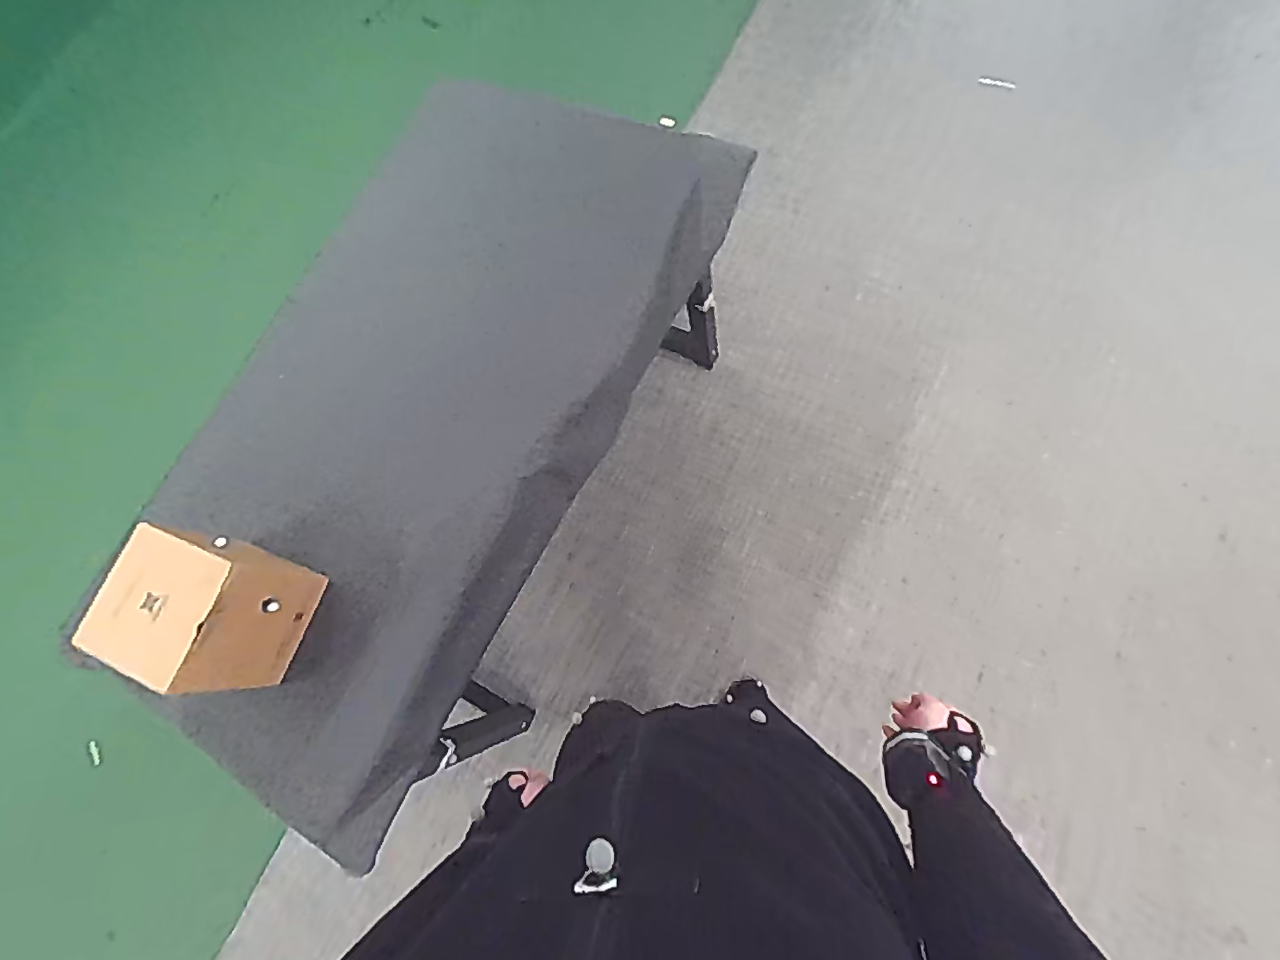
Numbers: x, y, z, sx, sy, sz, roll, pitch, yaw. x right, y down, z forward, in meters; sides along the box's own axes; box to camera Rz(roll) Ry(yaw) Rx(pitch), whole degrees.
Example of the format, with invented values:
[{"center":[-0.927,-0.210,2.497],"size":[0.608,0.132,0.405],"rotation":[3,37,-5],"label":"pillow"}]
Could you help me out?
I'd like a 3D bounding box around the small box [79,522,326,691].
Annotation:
[{"center":[-0.588,0.175,0.753],"size":[0.179,0.176,0.168],"rotation":[17,76,15],"label":"small box"}]
